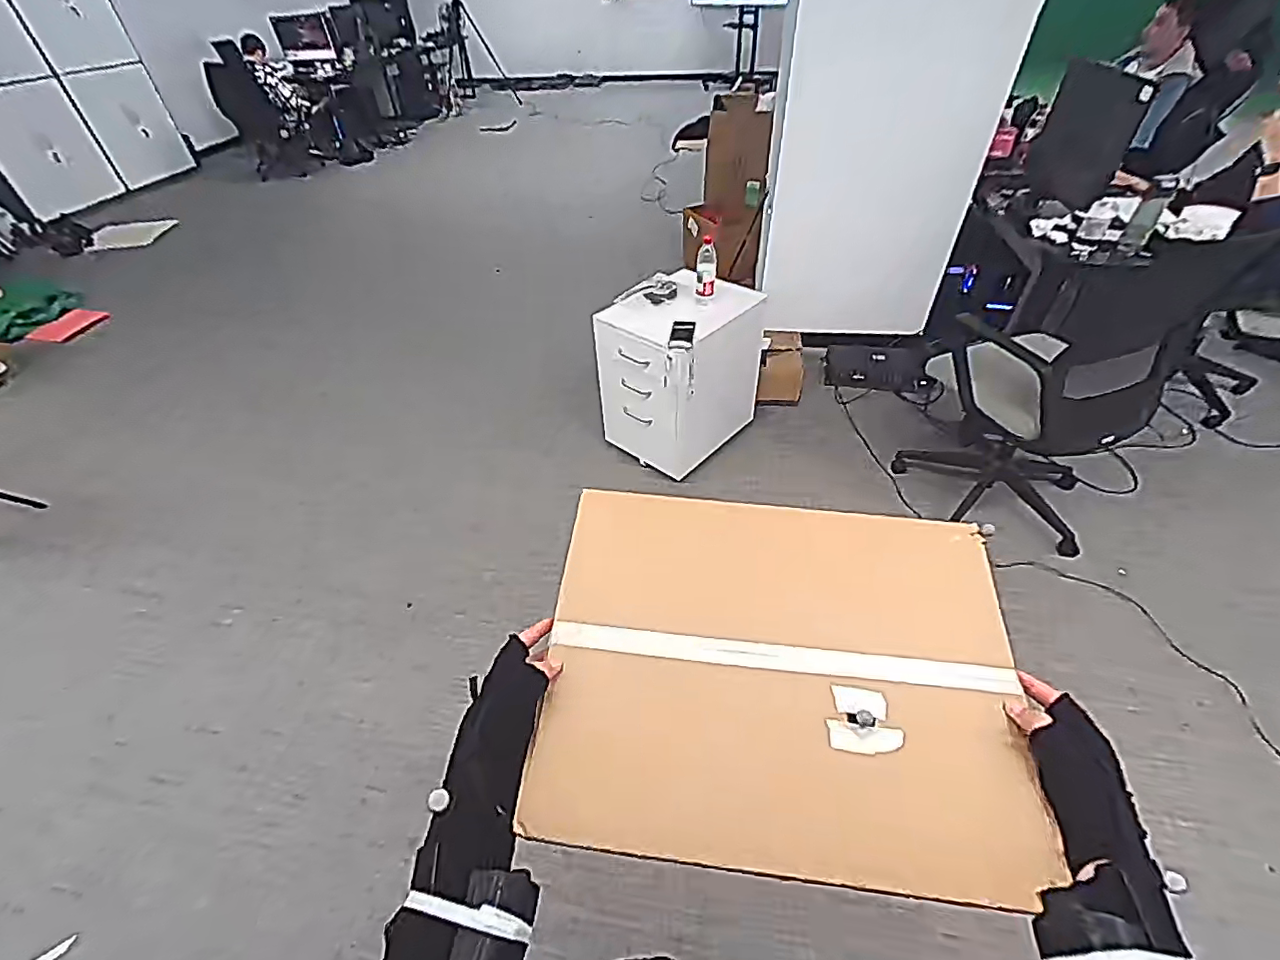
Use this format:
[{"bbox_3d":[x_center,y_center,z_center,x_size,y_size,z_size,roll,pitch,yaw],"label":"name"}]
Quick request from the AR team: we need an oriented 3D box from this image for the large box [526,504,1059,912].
[{"bbox_3d":[0.123,0.250,0.606,0.408,0.320,0.320,5,57,5],"label":"large box"}]
